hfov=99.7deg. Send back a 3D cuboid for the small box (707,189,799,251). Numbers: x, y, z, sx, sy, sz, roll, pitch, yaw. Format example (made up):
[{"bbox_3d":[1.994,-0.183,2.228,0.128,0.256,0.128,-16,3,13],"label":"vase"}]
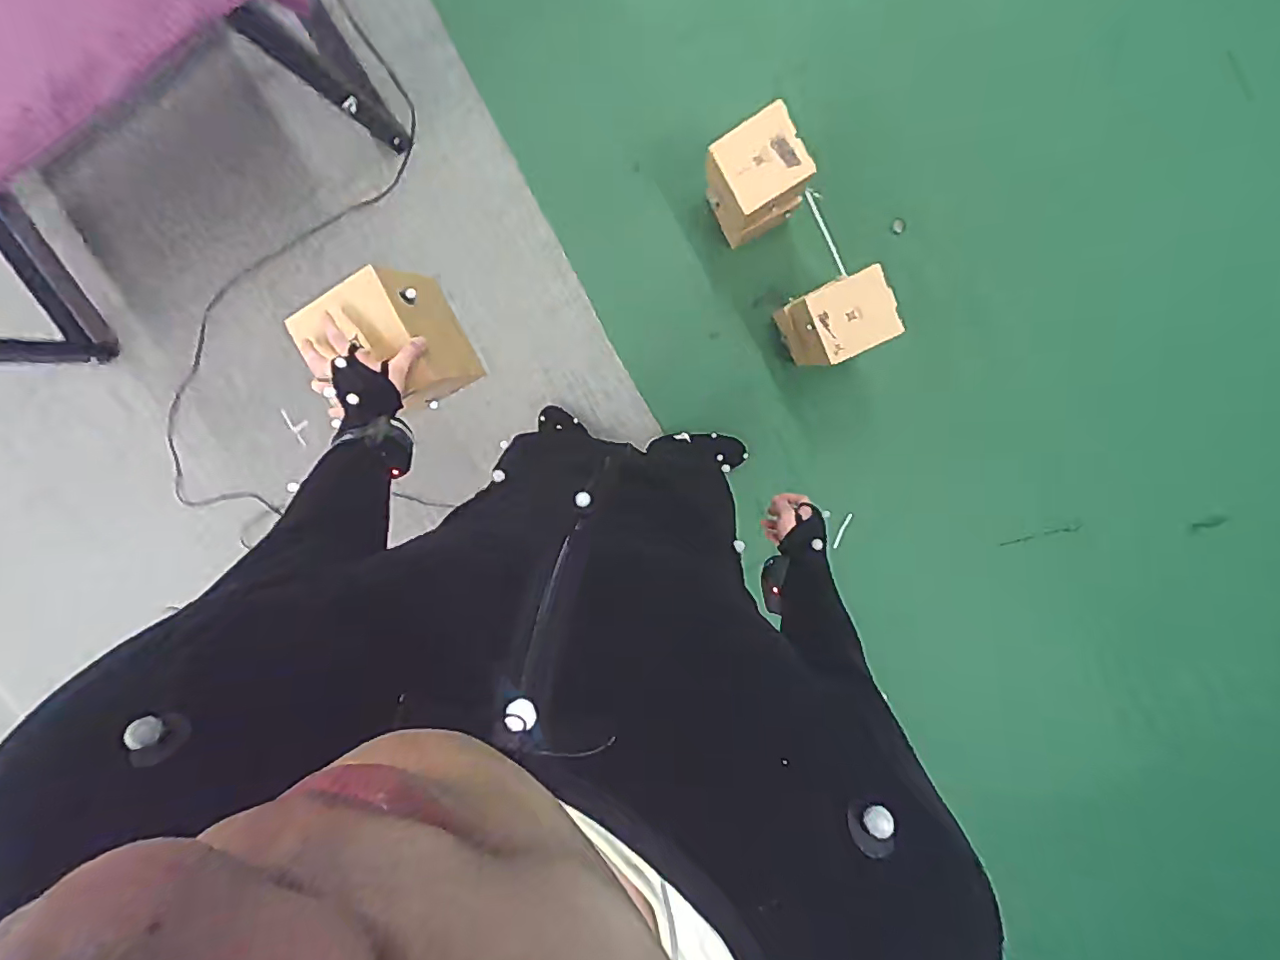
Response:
[{"bbox_3d":[0.281,-0.718,1.389,0.179,0.176,0.168,-27,98,7],"label":"small box"}]

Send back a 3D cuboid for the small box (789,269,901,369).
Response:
[{"bbox_3d":[0.475,-0.374,1.278,0.179,0.176,0.168,-24,100,7],"label":"small box"}]

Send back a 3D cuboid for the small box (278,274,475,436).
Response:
[{"bbox_3d":[-0.392,-0.189,0.834,0.168,0.176,0.179,-25,98,15],"label":"small box"}]

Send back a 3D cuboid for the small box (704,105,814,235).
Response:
[{"bbox_3d":[0.261,-0.690,1.227,0.179,0.176,0.168,-29,98,8],"label":"small box"}]
